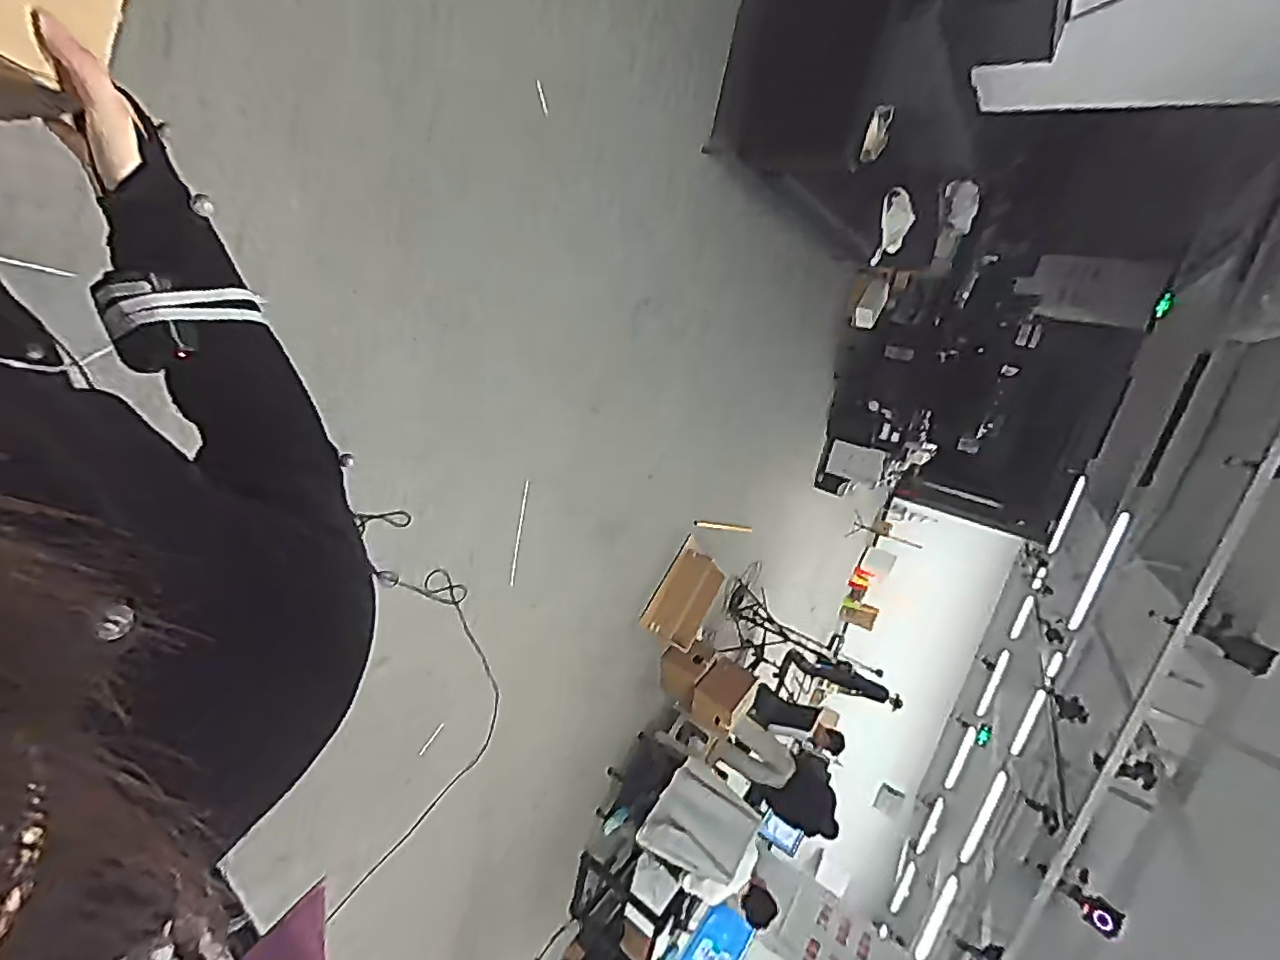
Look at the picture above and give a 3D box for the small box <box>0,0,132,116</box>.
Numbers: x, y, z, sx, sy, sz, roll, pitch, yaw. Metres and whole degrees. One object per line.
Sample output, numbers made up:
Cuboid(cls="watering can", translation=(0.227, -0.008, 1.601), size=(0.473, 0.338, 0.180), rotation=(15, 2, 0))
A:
Cuboid(cls="small box", translation=(-0.455, -0.362, 0.334), size=(0.168, 0.176, 0.179), rotation=(12, 91, -65))
